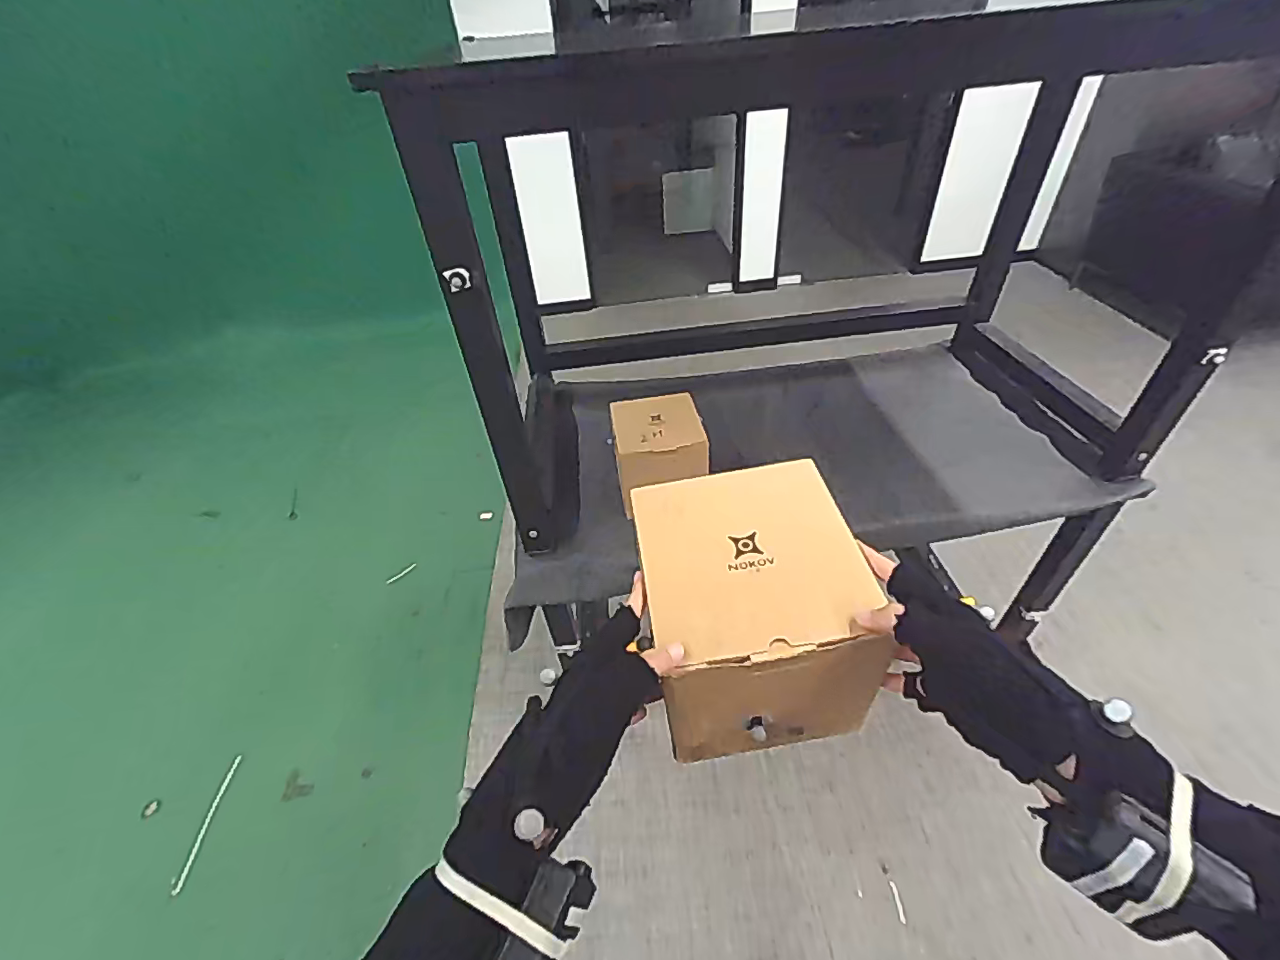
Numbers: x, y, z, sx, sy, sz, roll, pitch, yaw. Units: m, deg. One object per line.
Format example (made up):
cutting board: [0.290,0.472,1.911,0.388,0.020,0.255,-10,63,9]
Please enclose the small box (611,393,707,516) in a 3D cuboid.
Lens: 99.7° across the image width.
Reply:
small box: [0.036,-0.053,1.089,0.168,0.176,0.179,-8,41,-3]
